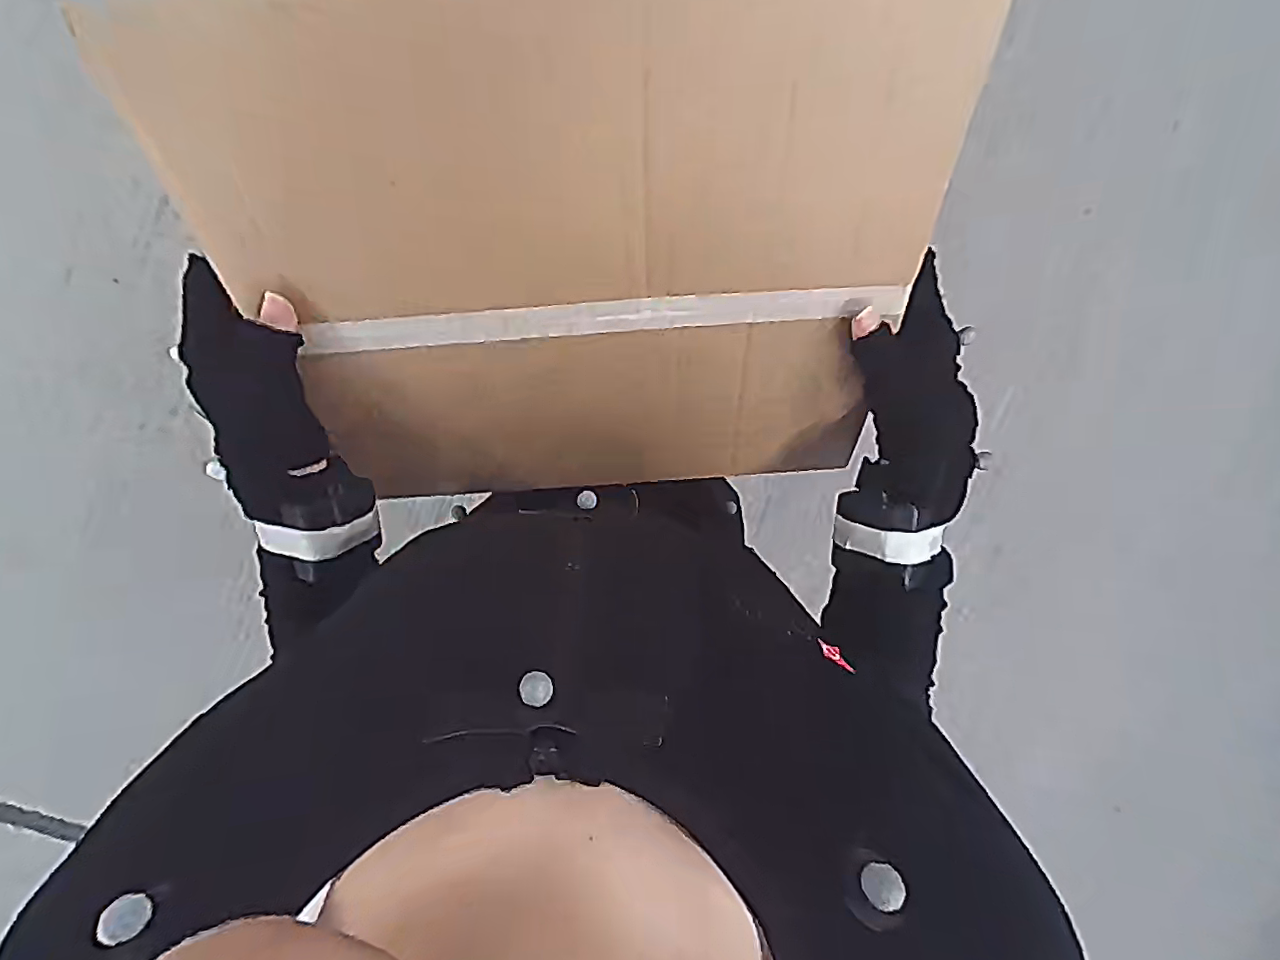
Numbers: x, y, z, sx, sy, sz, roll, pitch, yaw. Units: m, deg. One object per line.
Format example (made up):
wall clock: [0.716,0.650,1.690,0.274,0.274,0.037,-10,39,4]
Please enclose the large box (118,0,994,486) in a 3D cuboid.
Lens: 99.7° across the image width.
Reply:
large box: [-0.040,-0.221,0.447,0.408,0.320,0.320,-4,138,-1]
